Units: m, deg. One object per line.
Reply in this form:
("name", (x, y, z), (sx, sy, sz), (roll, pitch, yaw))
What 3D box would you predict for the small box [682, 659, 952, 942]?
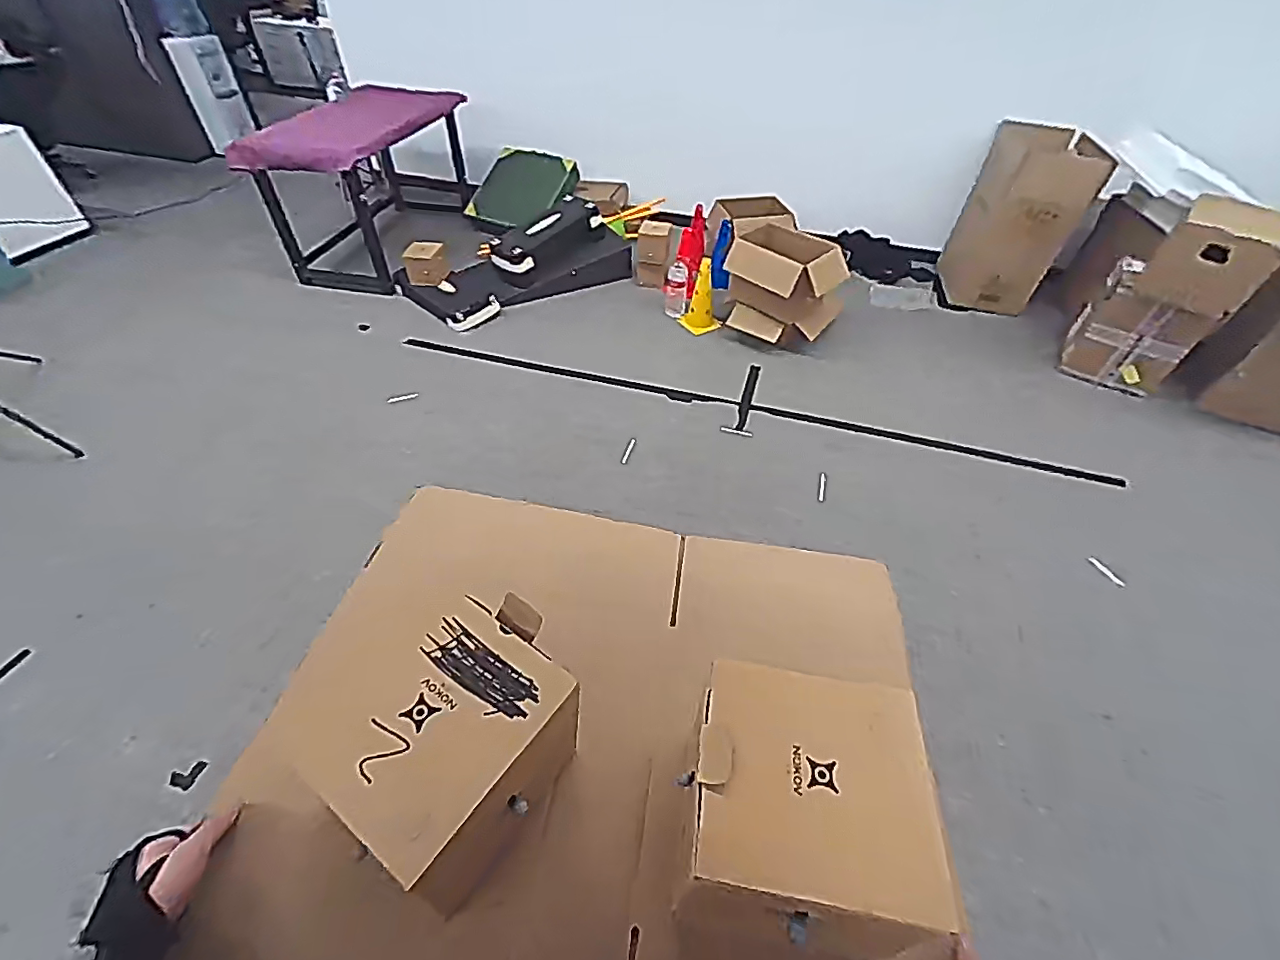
("small box", (0.138, 0.288, 0.485), (0.179, 0.176, 0.168), (7, 44, 6))
